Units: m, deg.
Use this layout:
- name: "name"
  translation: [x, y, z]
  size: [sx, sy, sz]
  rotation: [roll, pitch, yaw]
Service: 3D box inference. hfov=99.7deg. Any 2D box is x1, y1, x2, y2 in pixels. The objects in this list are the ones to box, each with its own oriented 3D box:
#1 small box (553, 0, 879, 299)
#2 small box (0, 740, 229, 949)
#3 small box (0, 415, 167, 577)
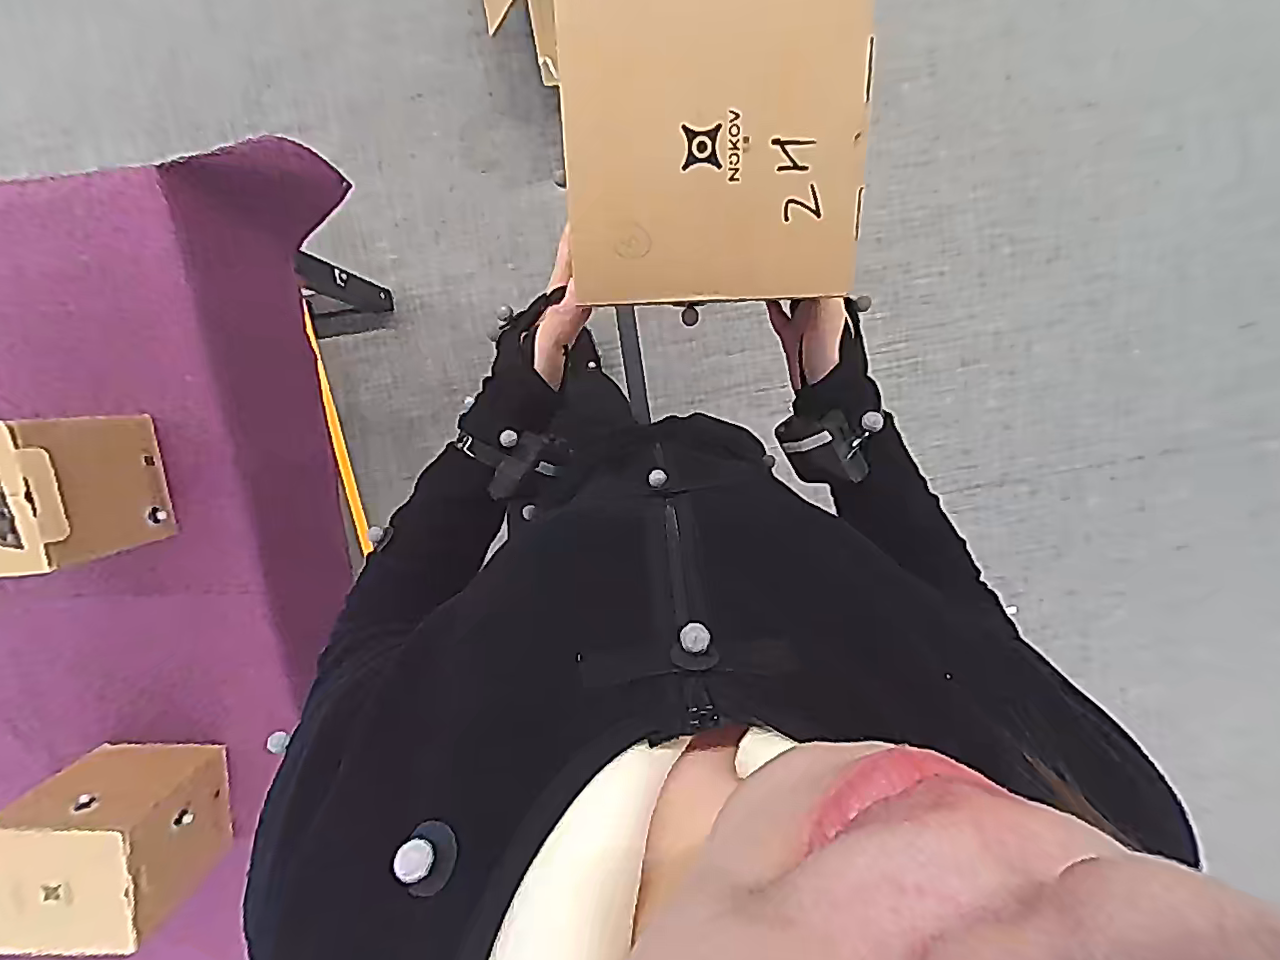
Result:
- name: "small box"
  translation: [0.041, -0.217, 0.383]
  size: [0.179, 0.176, 0.168]
  rotation: [-2, 109, -1]
- name: "small box"
  translation: [-0.687, 0.471, 0.720]
  size: [0.179, 0.176, 0.168]
  rotation: [2, 98, -2]
- name: "small box"
  translation: [-0.722, 0.013, 0.648]
  size: [0.179, 0.176, 0.168]
  rotation: [-6, 99, 0]
